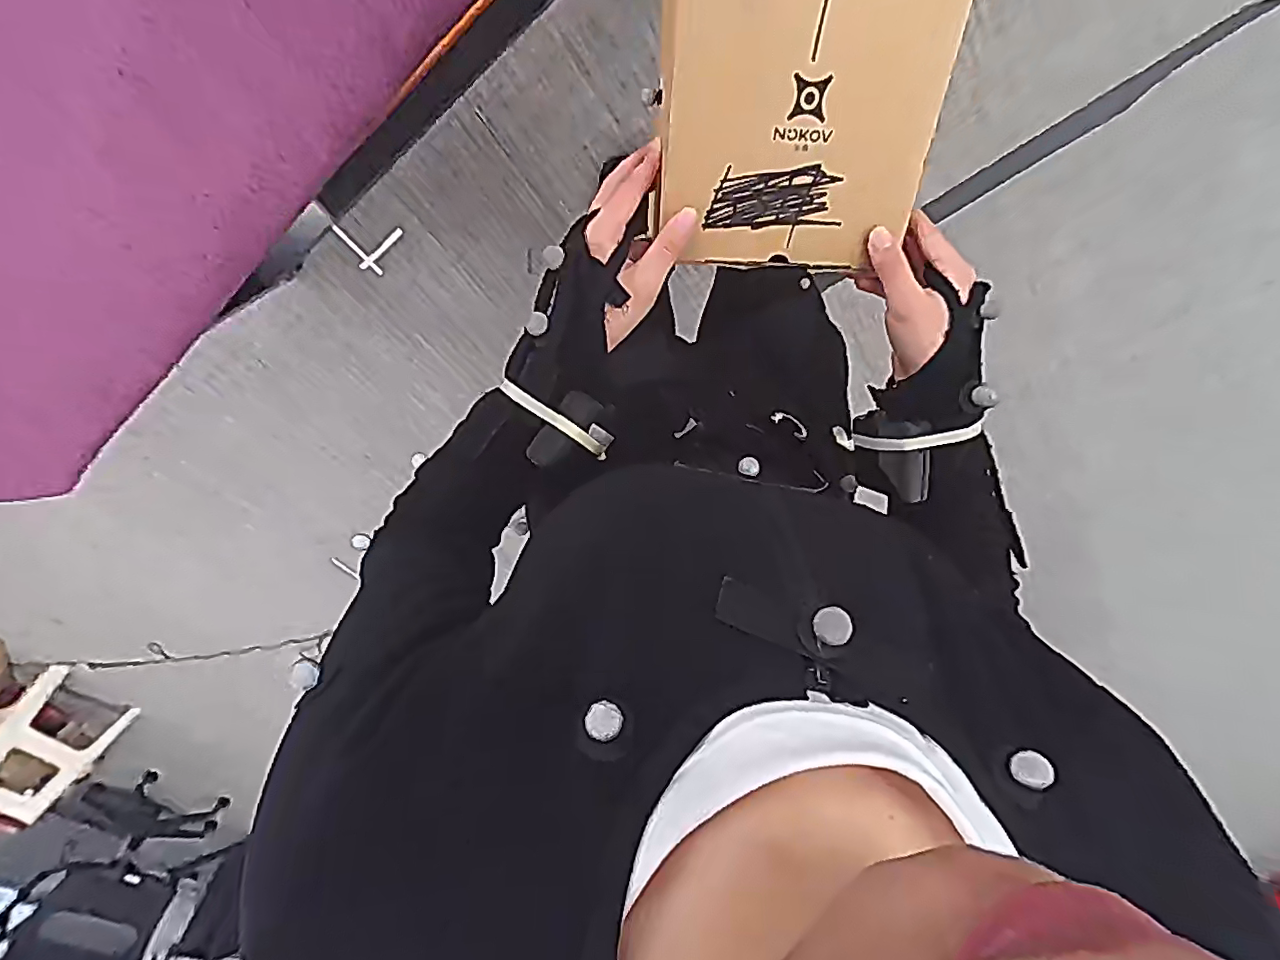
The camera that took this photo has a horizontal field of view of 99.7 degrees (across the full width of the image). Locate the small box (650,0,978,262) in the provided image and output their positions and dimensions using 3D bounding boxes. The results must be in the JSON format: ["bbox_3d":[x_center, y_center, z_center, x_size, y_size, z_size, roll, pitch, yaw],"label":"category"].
[{"bbox_3d":[0.095,-0.264,0.378,0.168,0.176,0.179,1,122,-3],"label":"small box"}]
